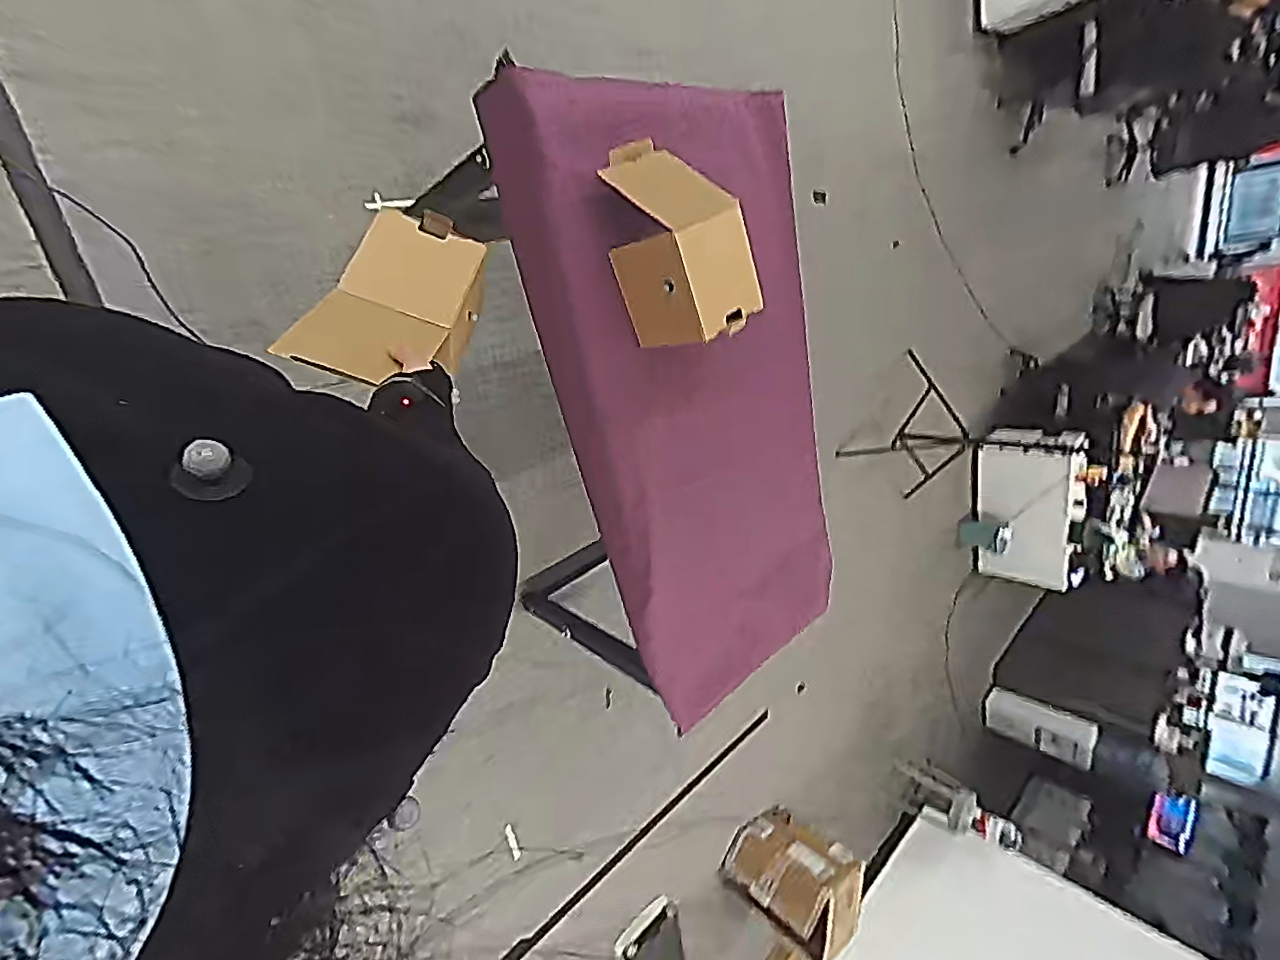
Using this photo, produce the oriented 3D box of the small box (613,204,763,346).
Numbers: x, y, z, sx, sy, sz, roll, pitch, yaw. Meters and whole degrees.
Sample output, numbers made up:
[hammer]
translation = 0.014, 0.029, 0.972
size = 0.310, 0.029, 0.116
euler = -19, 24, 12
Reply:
[small box]
translation = 0.080, -0.345, 0.930
size = 0.168, 0.176, 0.179
euler = -36, 119, -29
